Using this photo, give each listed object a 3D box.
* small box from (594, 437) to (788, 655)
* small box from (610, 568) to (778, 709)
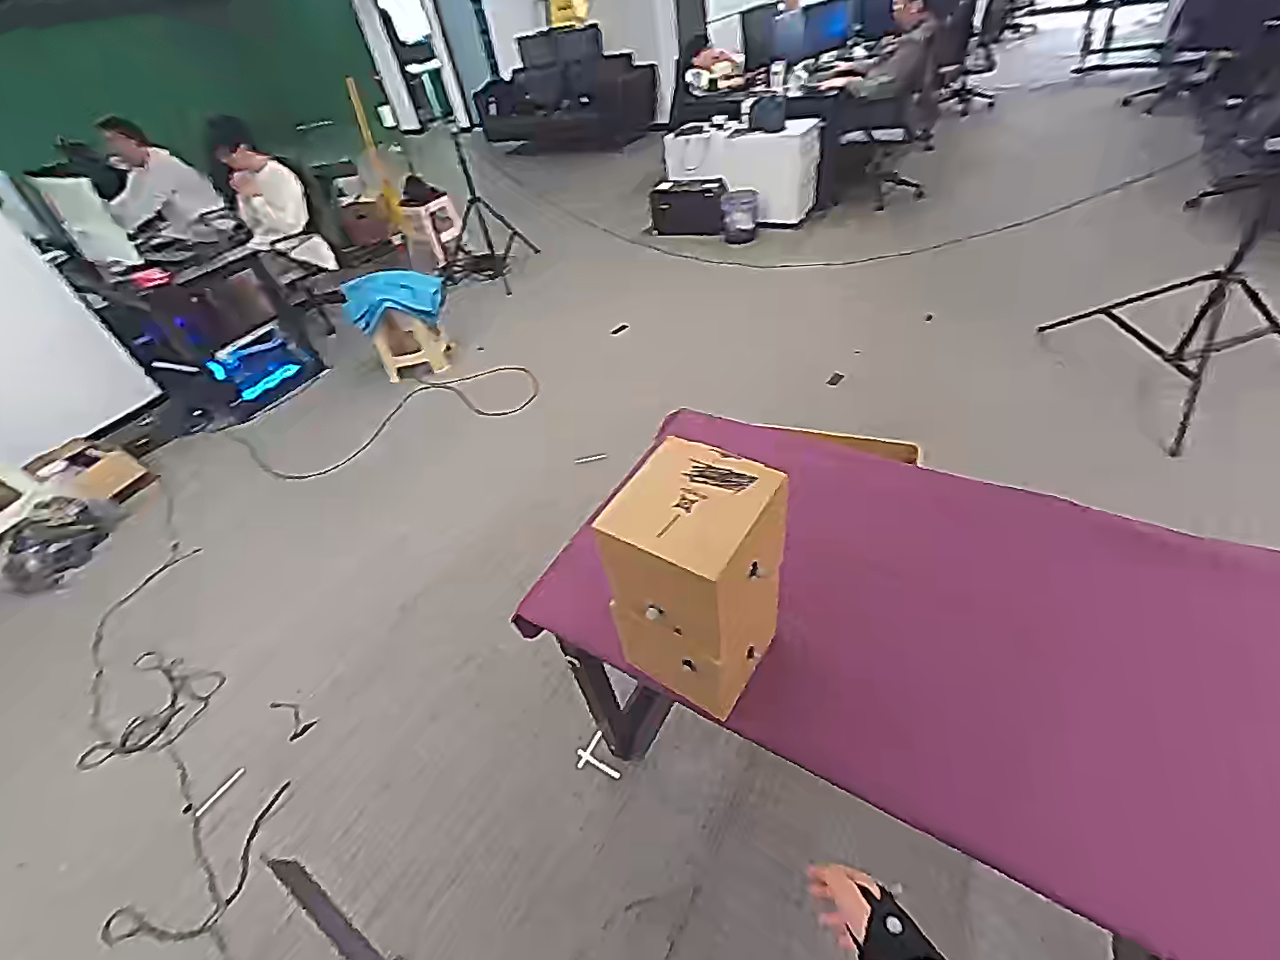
[{"bbox_3d":[0.069,0.080,0.679,0.168,0.176,0.179,21,53,29],"label":"small box"},{"bbox_3d":[0.085,0.203,0.787,0.179,0.176,0.168,21,52,30],"label":"small box"}]
